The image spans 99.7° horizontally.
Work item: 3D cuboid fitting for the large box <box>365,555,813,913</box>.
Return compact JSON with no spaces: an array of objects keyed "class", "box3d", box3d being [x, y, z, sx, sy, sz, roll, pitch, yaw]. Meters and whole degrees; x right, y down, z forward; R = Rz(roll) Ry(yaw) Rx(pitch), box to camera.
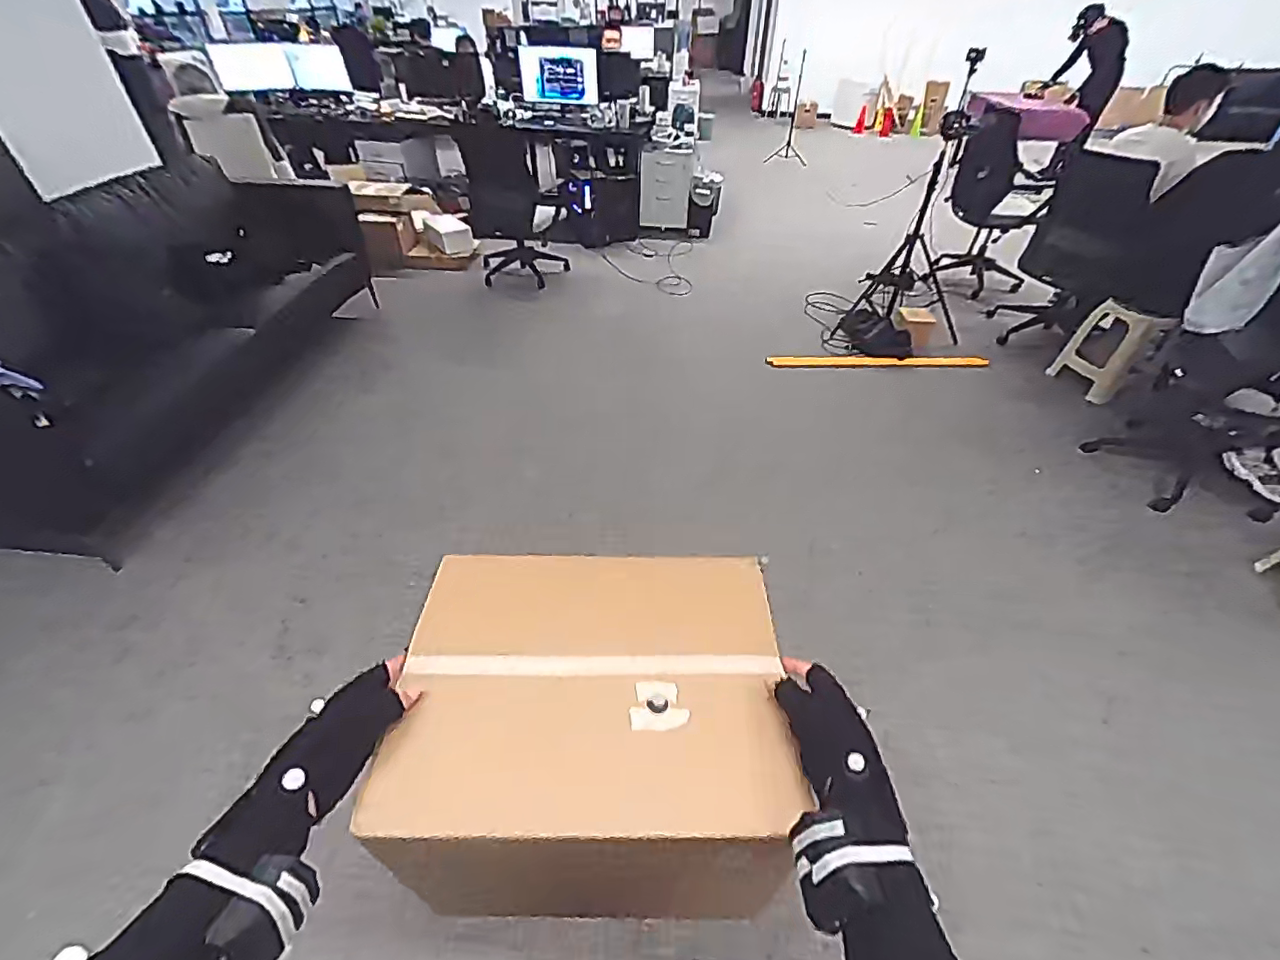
[{"class":"large box","box3d":[-0.050,0.311,0.679,0.408,0.320,0.320,1,40,-1]}]
